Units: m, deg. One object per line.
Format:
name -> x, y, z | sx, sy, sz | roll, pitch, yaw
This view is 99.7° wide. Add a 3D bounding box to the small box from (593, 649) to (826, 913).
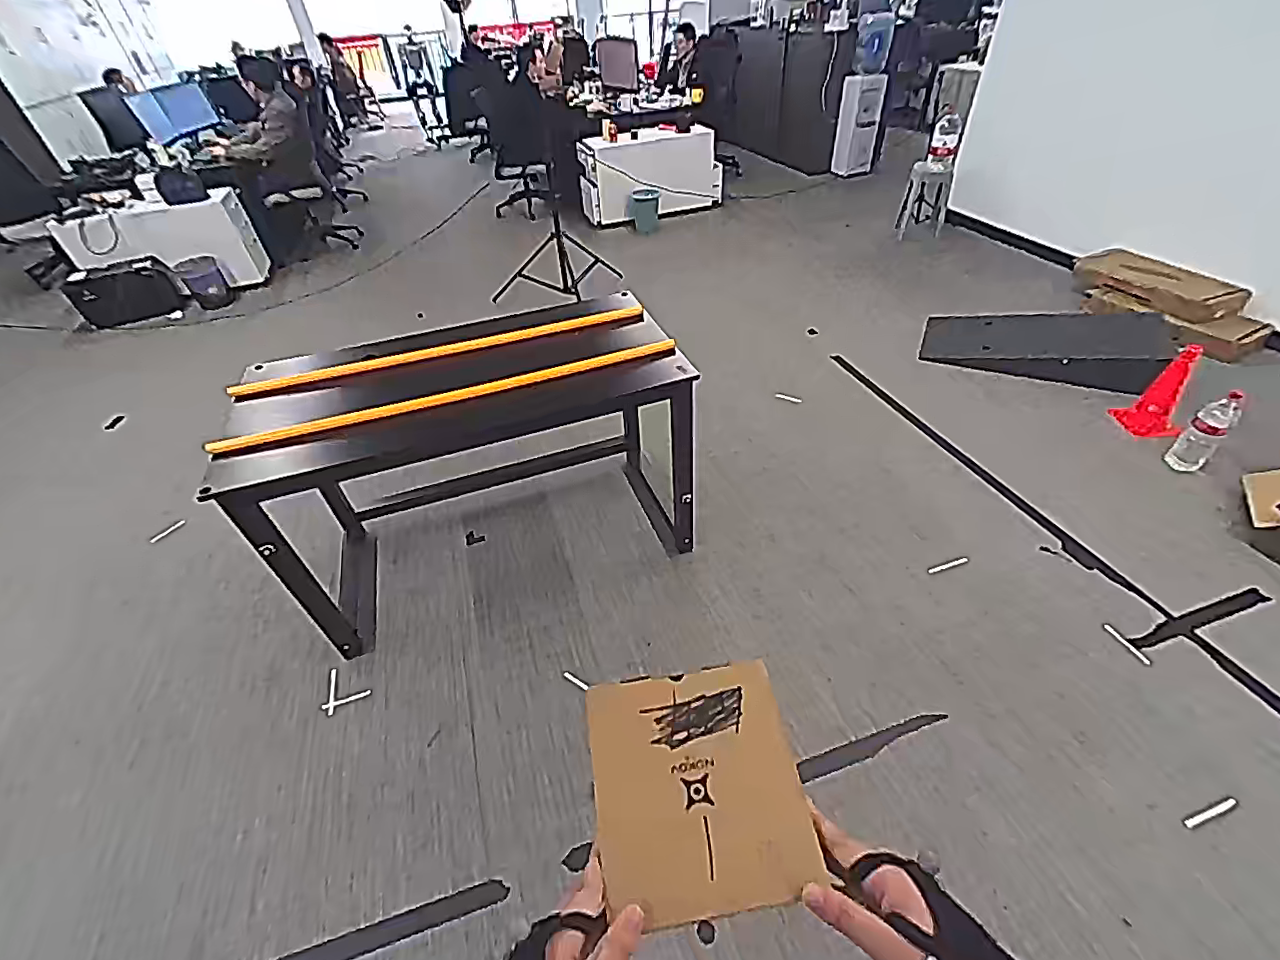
small box -> 0.048, 0.283, 0.508 | 0.168, 0.176, 0.179 | -8, 51, -4
